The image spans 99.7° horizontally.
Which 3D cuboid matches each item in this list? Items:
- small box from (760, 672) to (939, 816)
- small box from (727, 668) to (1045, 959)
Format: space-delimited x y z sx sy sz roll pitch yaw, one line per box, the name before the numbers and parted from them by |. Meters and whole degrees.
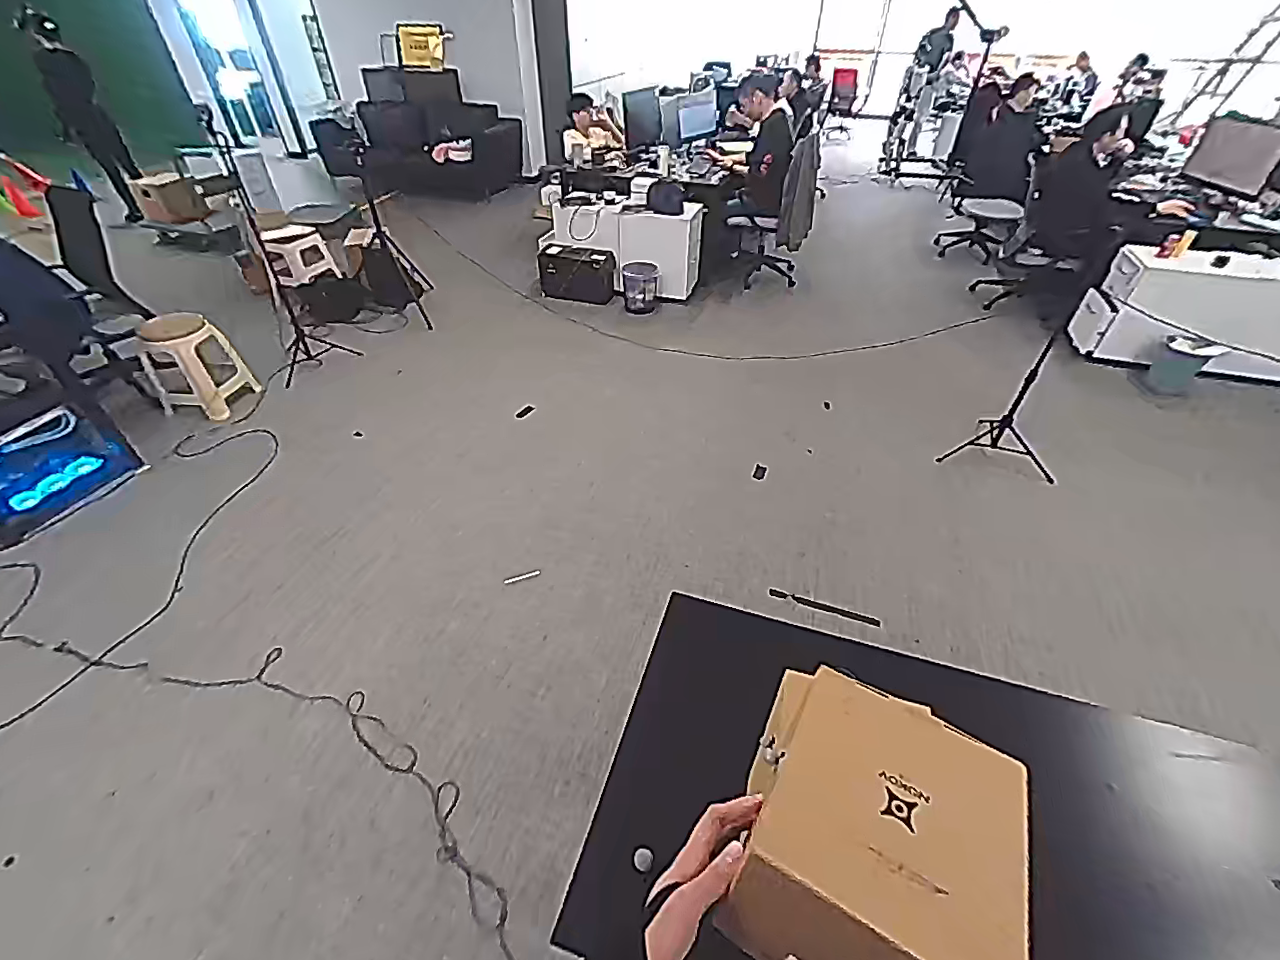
small box | 0.233 0.360 0.620 0.168 0.176 0.179 11 42 13
small box | 0.182 0.296 0.424 0.168 0.176 0.179 23 39 23
